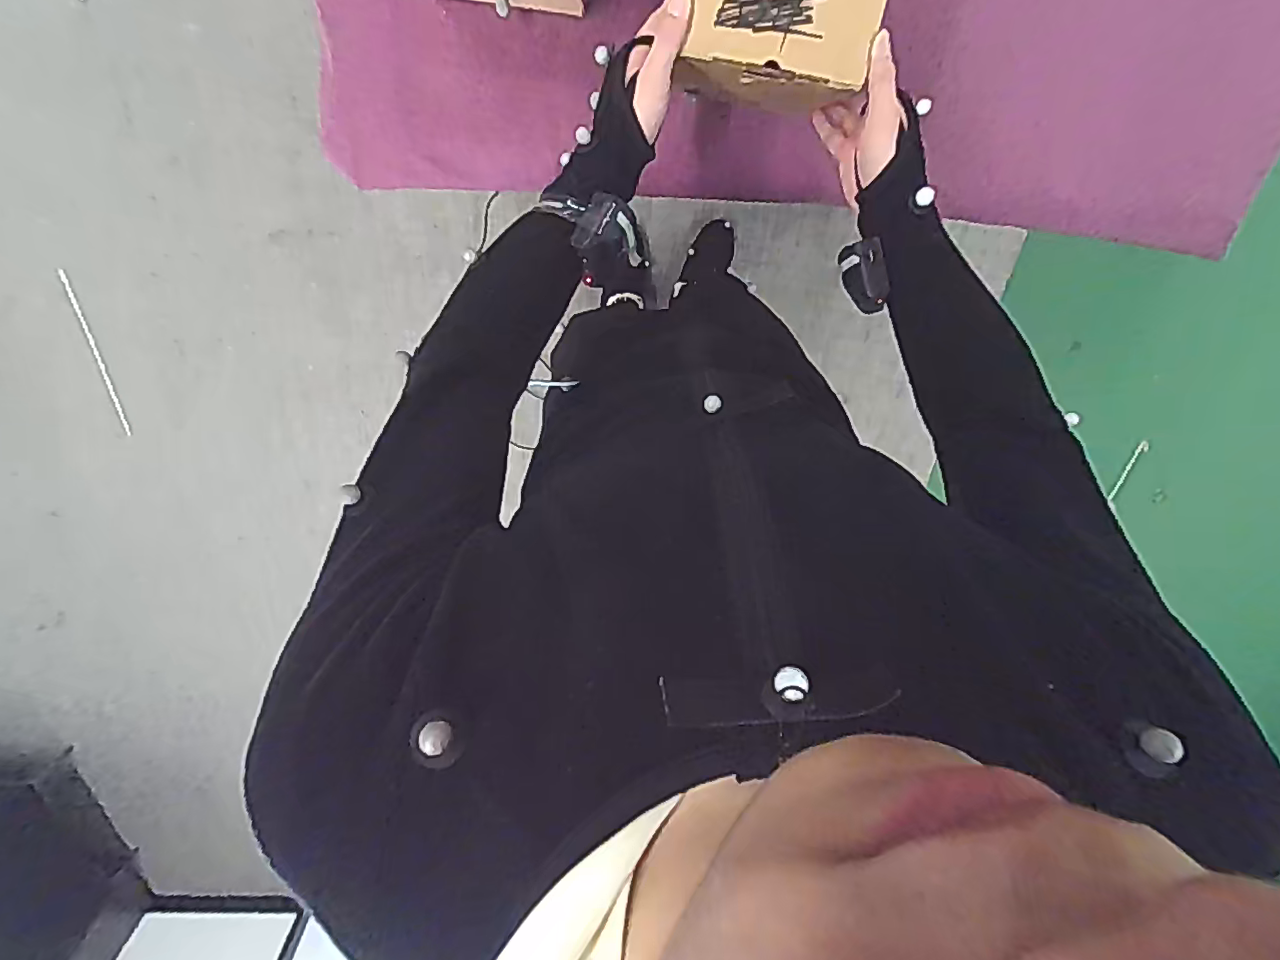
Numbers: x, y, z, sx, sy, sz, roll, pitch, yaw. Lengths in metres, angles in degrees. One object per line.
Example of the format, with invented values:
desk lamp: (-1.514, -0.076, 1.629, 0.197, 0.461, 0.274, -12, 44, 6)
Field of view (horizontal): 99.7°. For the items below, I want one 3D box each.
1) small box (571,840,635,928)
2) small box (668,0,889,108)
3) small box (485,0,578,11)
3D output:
small box: (-0.114, 1.246, 1.673, 0.179, 0.176, 0.168, 7, 117, -5)
small box: (0.121, -0.457, 0.485, 0.168, 0.176, 0.179, 6, 116, -7)
small box: (-0.136, -0.573, 0.506, 0.179, 0.176, 0.168, 4, 119, -5)
